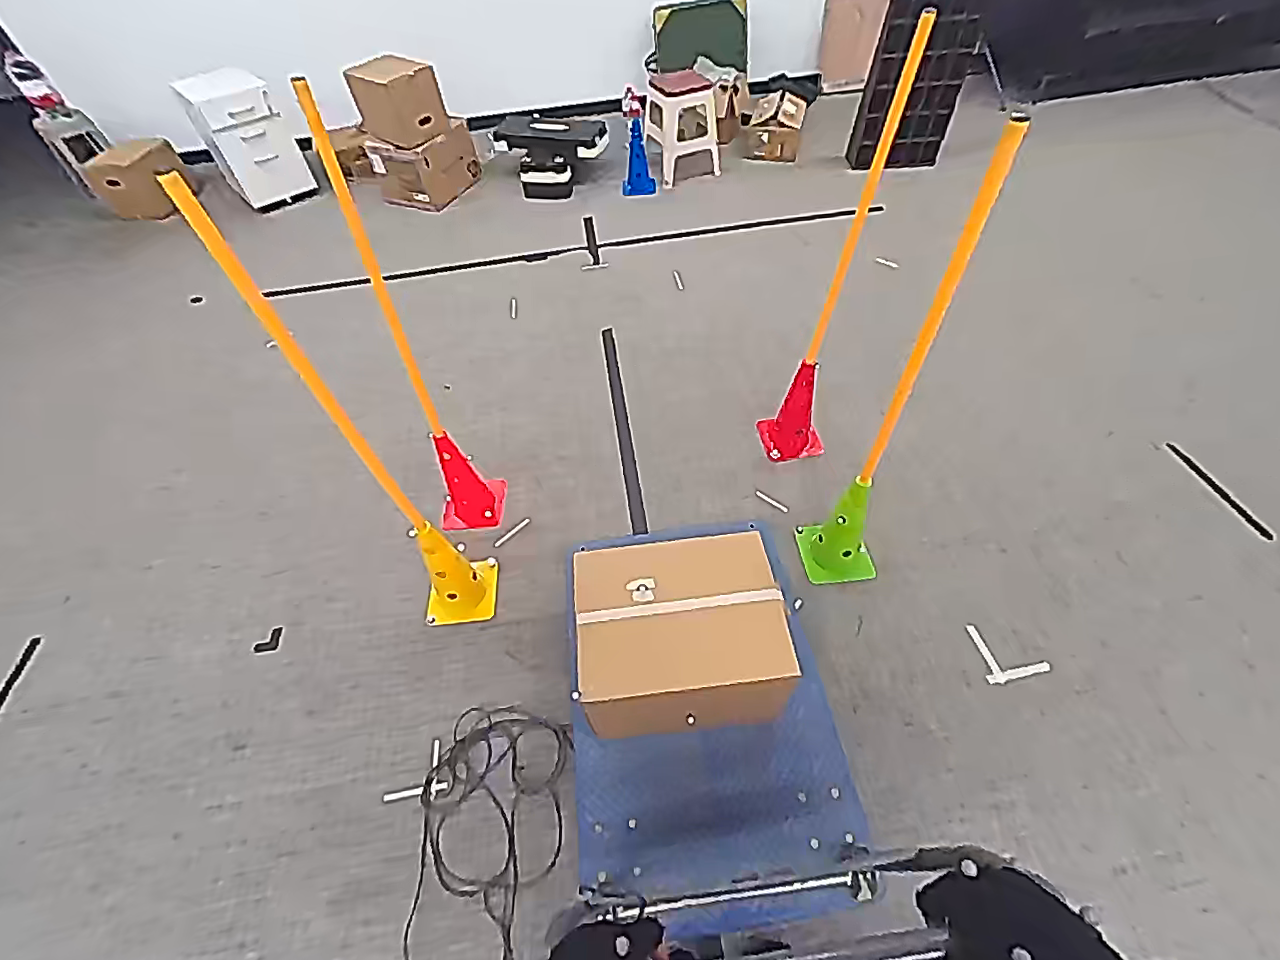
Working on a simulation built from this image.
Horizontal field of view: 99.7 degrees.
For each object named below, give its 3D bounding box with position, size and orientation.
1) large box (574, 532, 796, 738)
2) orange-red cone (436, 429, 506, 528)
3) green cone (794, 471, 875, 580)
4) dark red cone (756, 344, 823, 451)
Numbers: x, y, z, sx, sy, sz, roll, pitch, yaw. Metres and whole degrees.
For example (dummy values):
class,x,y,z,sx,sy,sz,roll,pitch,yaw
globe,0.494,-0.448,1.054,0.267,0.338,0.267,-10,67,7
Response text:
class,x,y,z,sx,sy,sz,roll,pitch,yaw
large box,0.084,0.347,1.186,0.408,0.320,0.320,-7,52,-1
orange-red cone,-0.572,-0.028,1.714,0.198,0.360,0.199,-2,50,1
green cone,0.584,0.106,1.522,0.202,0.368,0.200,-5,52,-1
dark red cone,0.529,-0.282,1.810,0.201,0.394,0.202,-8,52,-4
